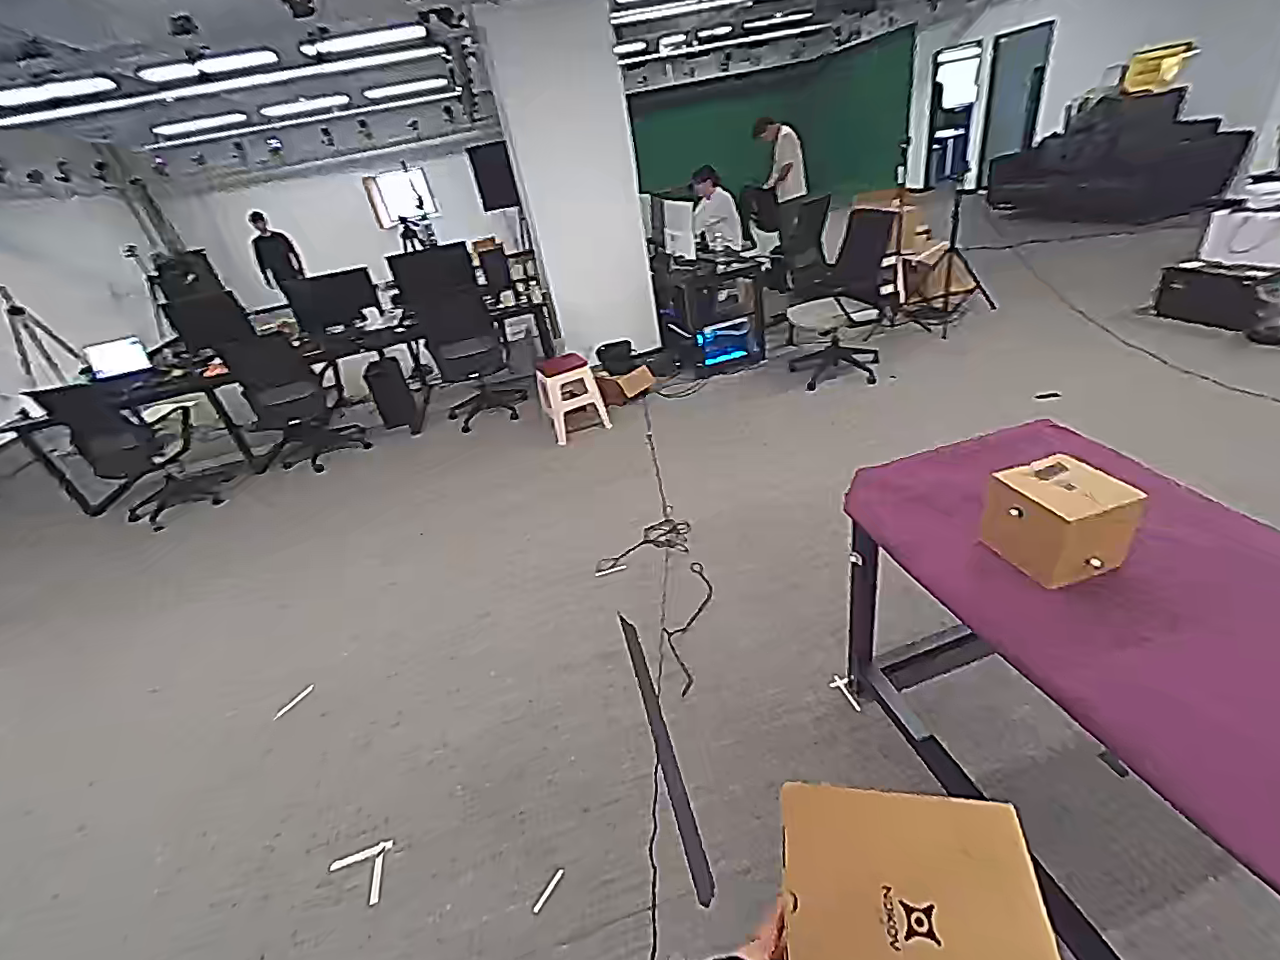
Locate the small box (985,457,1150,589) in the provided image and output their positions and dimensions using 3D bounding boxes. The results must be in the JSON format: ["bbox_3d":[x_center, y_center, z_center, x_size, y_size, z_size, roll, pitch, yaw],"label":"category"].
[{"bbox_3d":[0.816,0.082,1.055,0.168,0.176,0.179,-16,32,-7],"label":"small box"}]

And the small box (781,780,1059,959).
[{"bbox_3d":[0.204,0.364,0.429,0.179,0.176,0.168,-2,42,14],"label":"small box"}]
